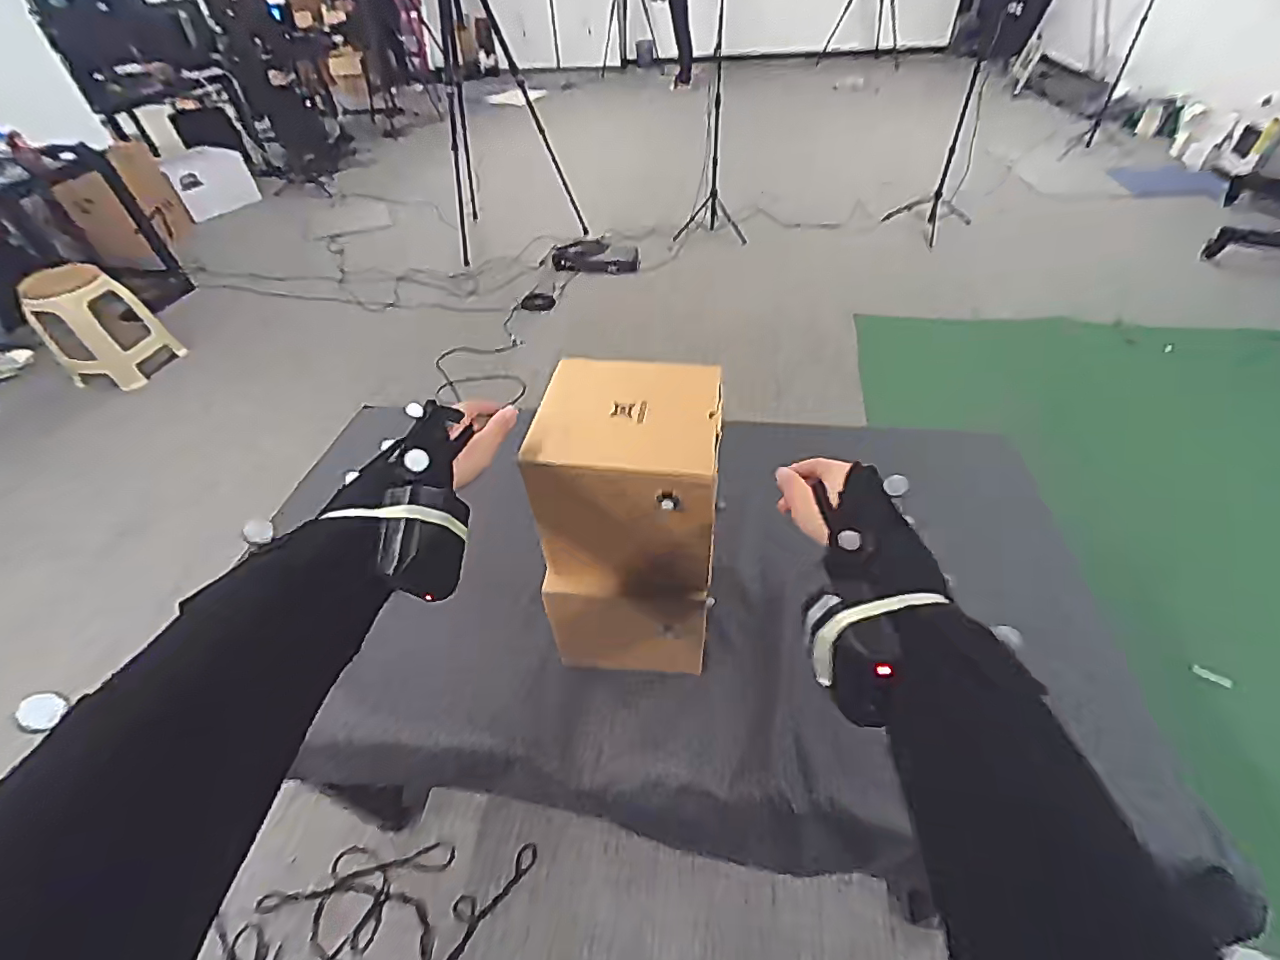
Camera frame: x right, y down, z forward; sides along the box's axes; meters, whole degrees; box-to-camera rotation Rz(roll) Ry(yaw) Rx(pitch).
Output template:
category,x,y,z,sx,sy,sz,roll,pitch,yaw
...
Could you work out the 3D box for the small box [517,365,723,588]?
category,x,y,z,sx,sy,sz,roll,pitch,yaw
small box,-0.008,-0.003,0.569,0.179,0.176,0.168,4,45,7
